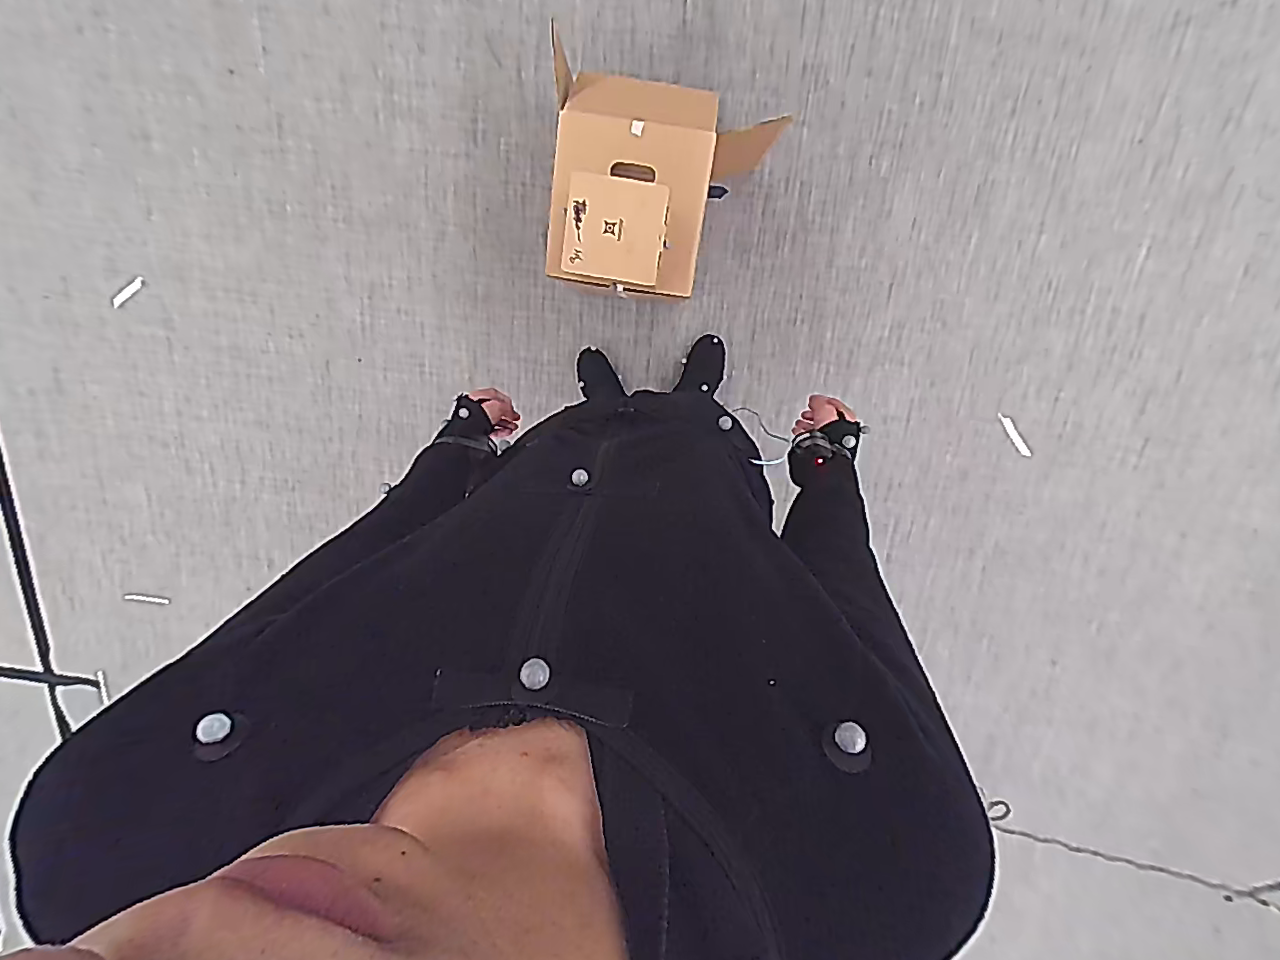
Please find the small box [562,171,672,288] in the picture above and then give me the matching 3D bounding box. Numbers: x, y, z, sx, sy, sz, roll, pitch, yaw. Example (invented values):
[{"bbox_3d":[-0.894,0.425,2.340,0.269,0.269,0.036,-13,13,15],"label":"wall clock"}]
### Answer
[{"bbox_3d":[-0.040,-0.468,1.032,0.179,0.176,0.168,10,108,-1],"label":"small box"}]
